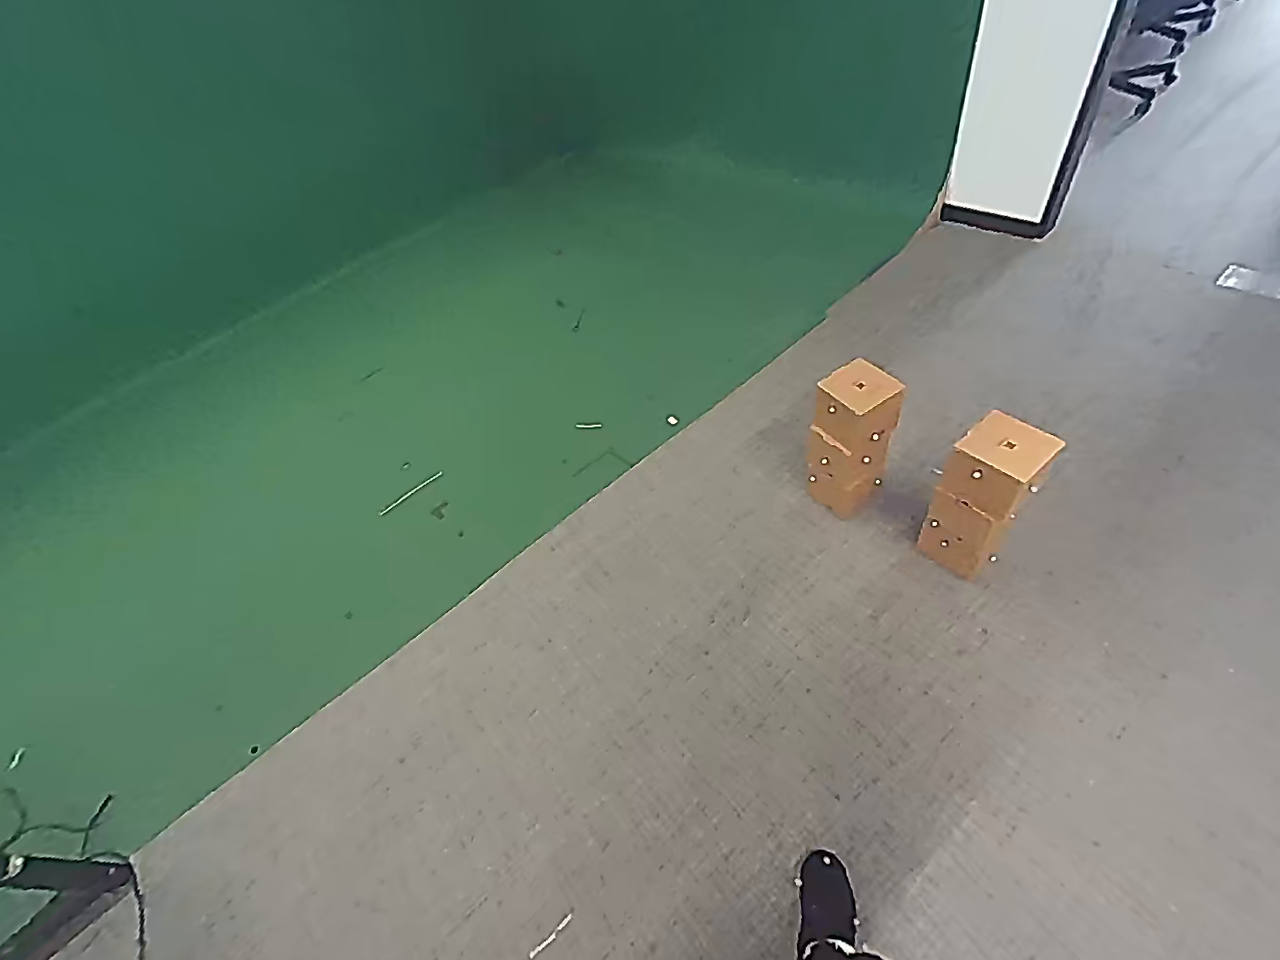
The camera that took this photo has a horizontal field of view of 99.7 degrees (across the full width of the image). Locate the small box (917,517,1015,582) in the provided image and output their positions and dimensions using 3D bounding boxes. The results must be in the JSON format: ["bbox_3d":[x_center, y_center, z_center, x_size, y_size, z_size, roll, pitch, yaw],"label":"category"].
[{"bbox_3d":[0.959,0.172,1.608,0.168,0.176,0.179,-38,51,-15],"label":"small box"}]

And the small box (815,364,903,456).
[{"bbox_3d":[0.630,-0.202,1.580,0.168,0.176,0.179,-30,50,-10],"label":"small box"}]

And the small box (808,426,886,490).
[{"bbox_3d":[0.653,-0.098,1.705,0.179,0.176,0.168,-32,50,-11],"label":"small box"}]

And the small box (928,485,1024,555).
[{"bbox_3d":[0.921,0.073,1.482,0.179,0.176,0.168,-36,51,-15],"label":"small box"}]

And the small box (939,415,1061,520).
[{"bbox_3d":[0.892,-0.025,1.356,0.168,0.176,0.179,-37,50,-15],"label":"small box"}]
